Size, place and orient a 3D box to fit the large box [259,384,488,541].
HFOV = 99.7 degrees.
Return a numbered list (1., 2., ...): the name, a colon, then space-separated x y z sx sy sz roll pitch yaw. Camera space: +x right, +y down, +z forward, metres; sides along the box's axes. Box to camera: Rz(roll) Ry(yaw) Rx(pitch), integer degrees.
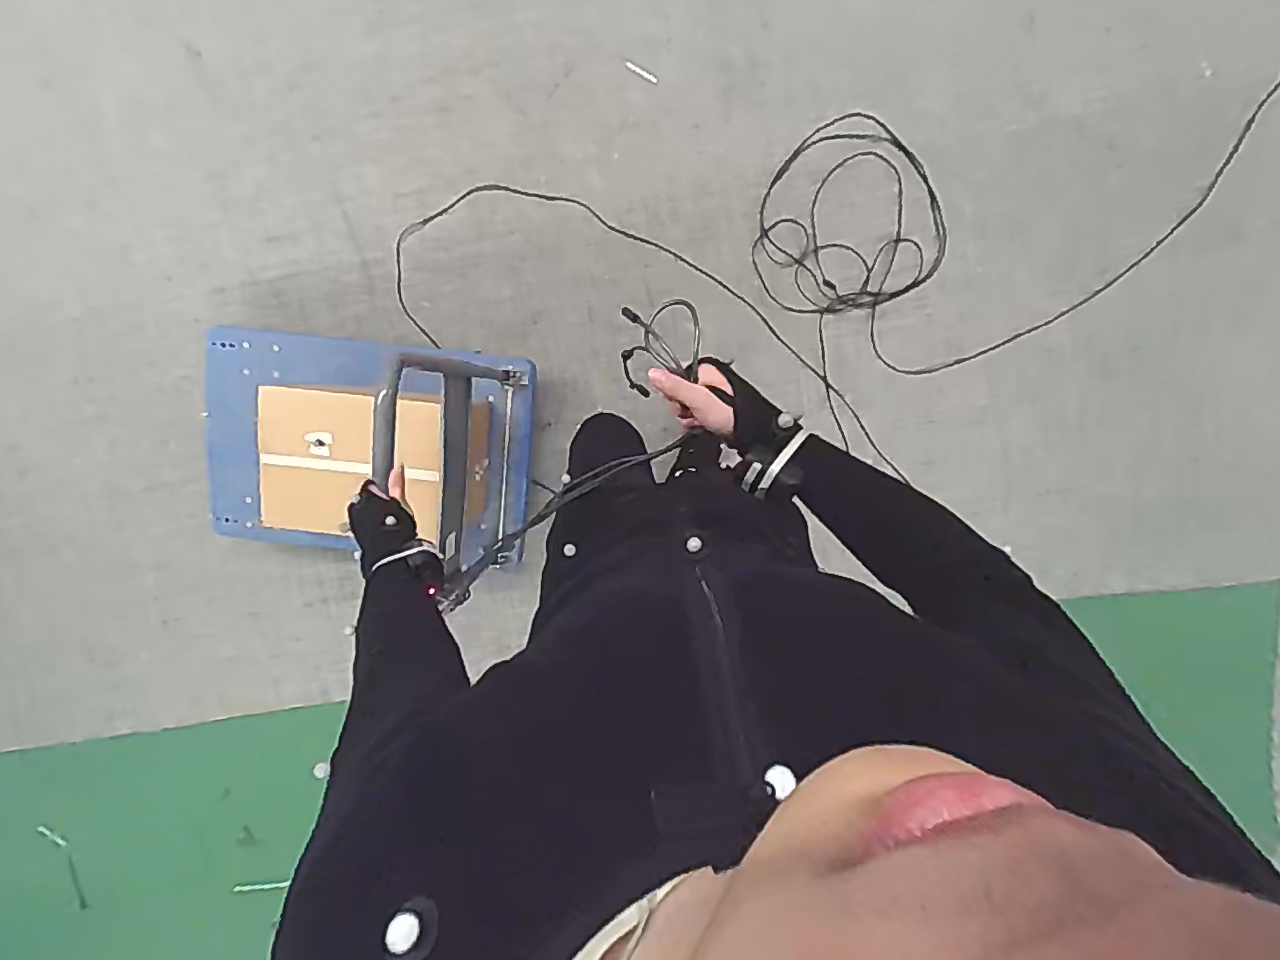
1. large box: -0.609 -0.060 1.302 0.408 0.320 0.320 6 100 2
